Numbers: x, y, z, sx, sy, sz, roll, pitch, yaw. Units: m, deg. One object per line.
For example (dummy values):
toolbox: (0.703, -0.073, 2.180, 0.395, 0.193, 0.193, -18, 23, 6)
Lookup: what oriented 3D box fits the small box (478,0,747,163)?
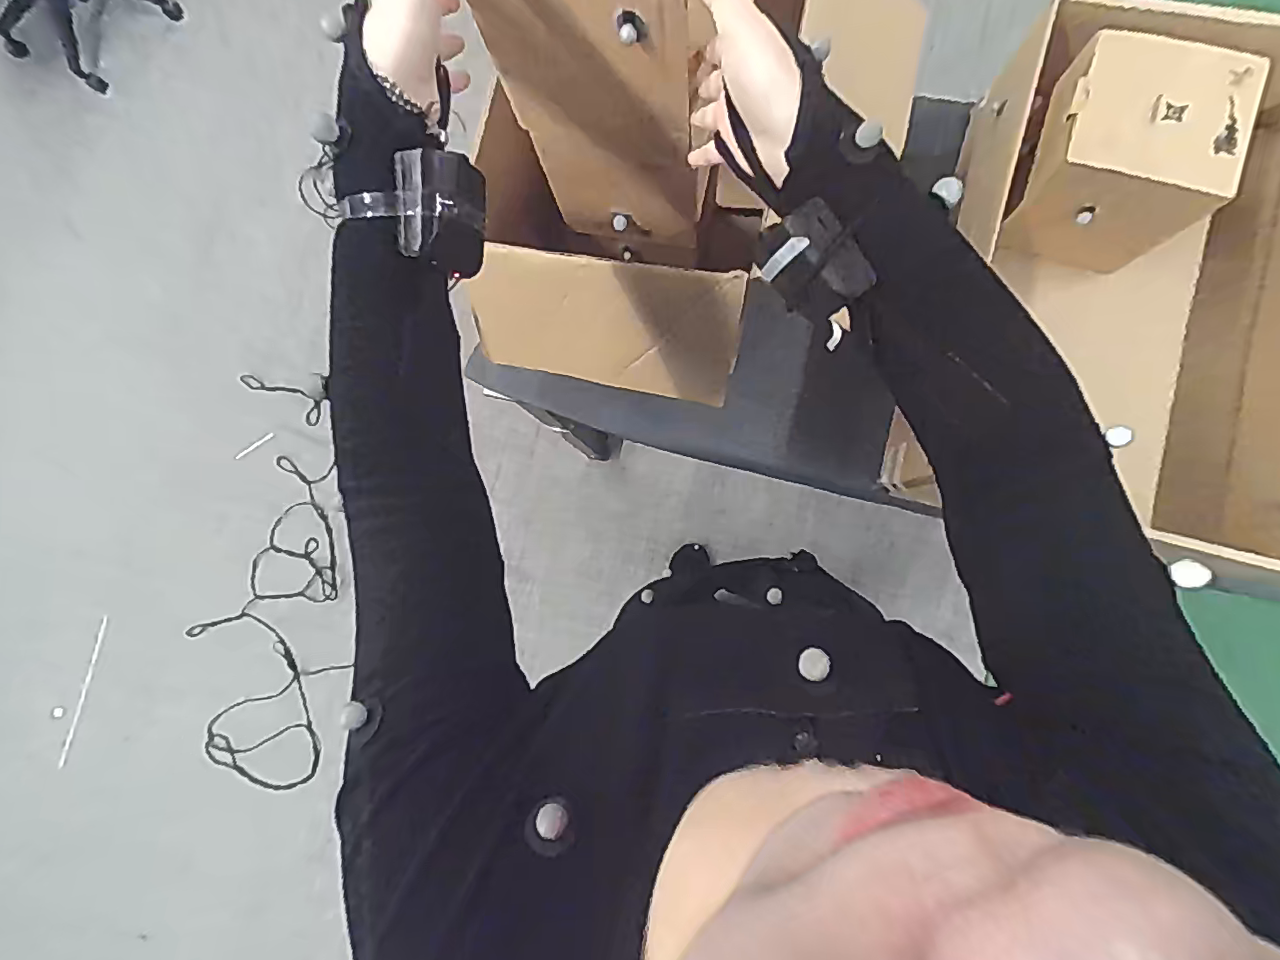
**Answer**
small box: (-0.017, -0.390, 0.427, 0.179, 0.176, 0.168, 19, 86, 7)
